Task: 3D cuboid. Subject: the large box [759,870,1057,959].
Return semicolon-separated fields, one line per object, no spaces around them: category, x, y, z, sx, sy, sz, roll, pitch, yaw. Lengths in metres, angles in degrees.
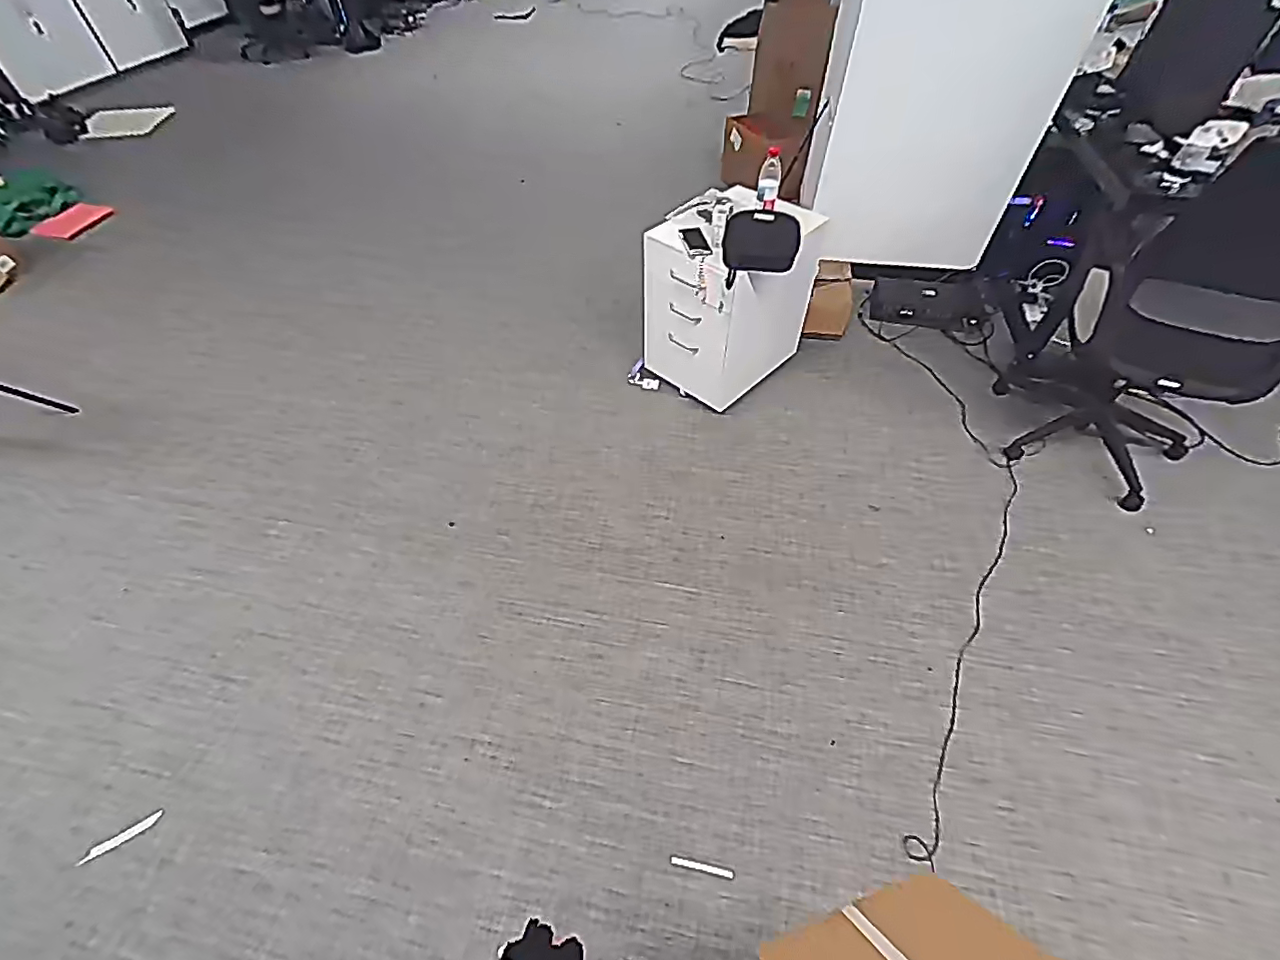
large box;0.393;0.760;0.621;0.320;0.408;0.320;-14;82;-13
